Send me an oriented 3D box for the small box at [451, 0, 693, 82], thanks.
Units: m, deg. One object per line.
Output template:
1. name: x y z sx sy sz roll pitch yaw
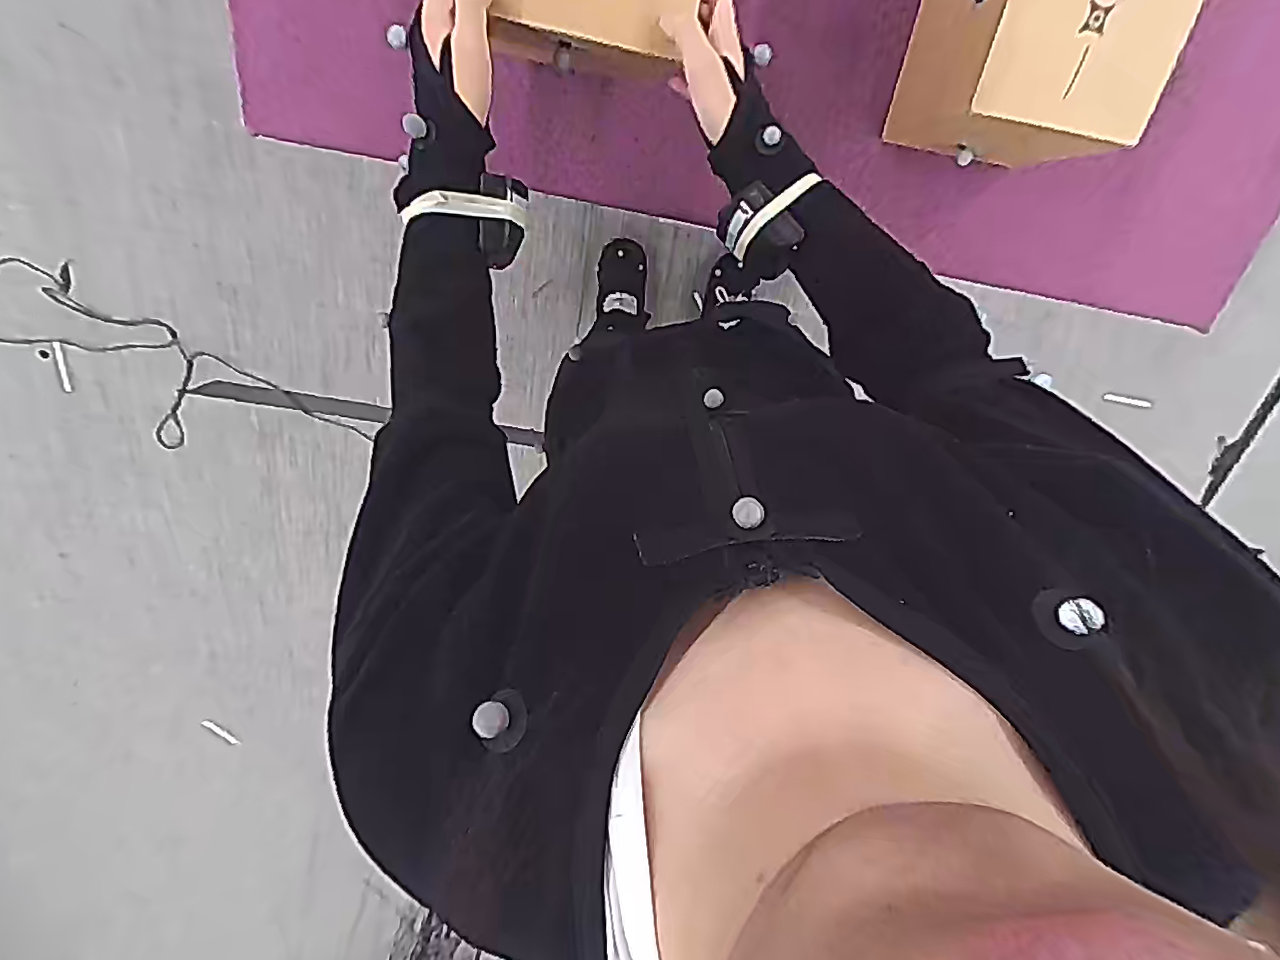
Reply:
1. small box: -0.049 -0.441 0.435 0.179 0.176 0.168 5 120 -11

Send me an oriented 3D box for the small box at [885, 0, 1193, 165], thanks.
1. small box: 0.367 -0.422 0.516 0.168 0.176 0.179 7 115 -7
